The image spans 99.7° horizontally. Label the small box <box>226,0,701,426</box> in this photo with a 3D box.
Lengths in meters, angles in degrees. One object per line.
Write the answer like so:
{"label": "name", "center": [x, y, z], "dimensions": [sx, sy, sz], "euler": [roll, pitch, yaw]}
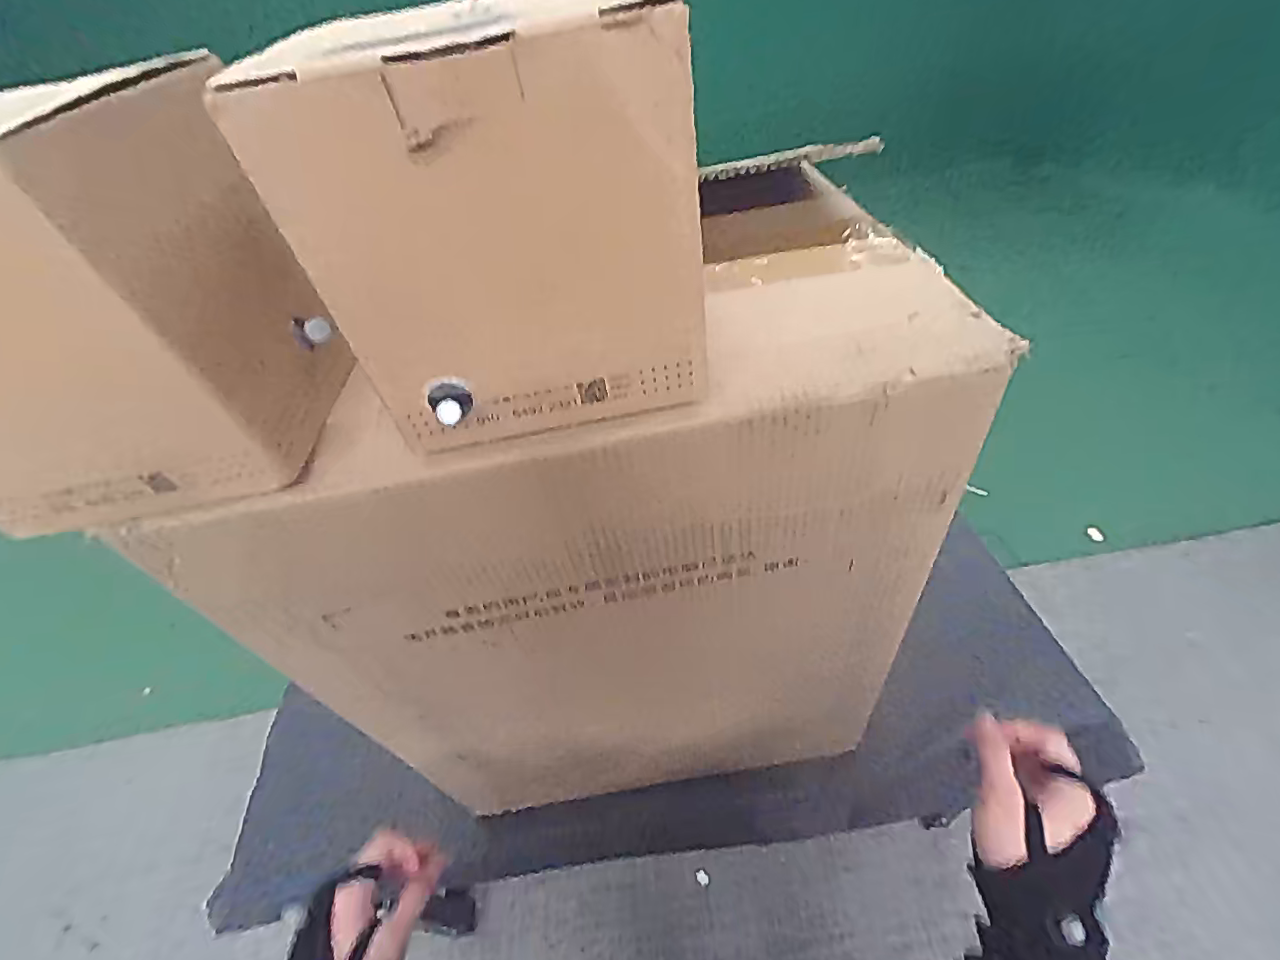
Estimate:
{"label": "small box", "center": [-0.063, -0.145, 0.300], "dimensions": [0.168, 0.176, 0.179], "euler": [-10, 45, 0]}

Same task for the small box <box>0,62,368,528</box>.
{"label": "small box", "center": [-0.282, -0.100, 0.300], "dimensions": [0.168, 0.176, 0.179], "euler": [-11, 45, 4]}
